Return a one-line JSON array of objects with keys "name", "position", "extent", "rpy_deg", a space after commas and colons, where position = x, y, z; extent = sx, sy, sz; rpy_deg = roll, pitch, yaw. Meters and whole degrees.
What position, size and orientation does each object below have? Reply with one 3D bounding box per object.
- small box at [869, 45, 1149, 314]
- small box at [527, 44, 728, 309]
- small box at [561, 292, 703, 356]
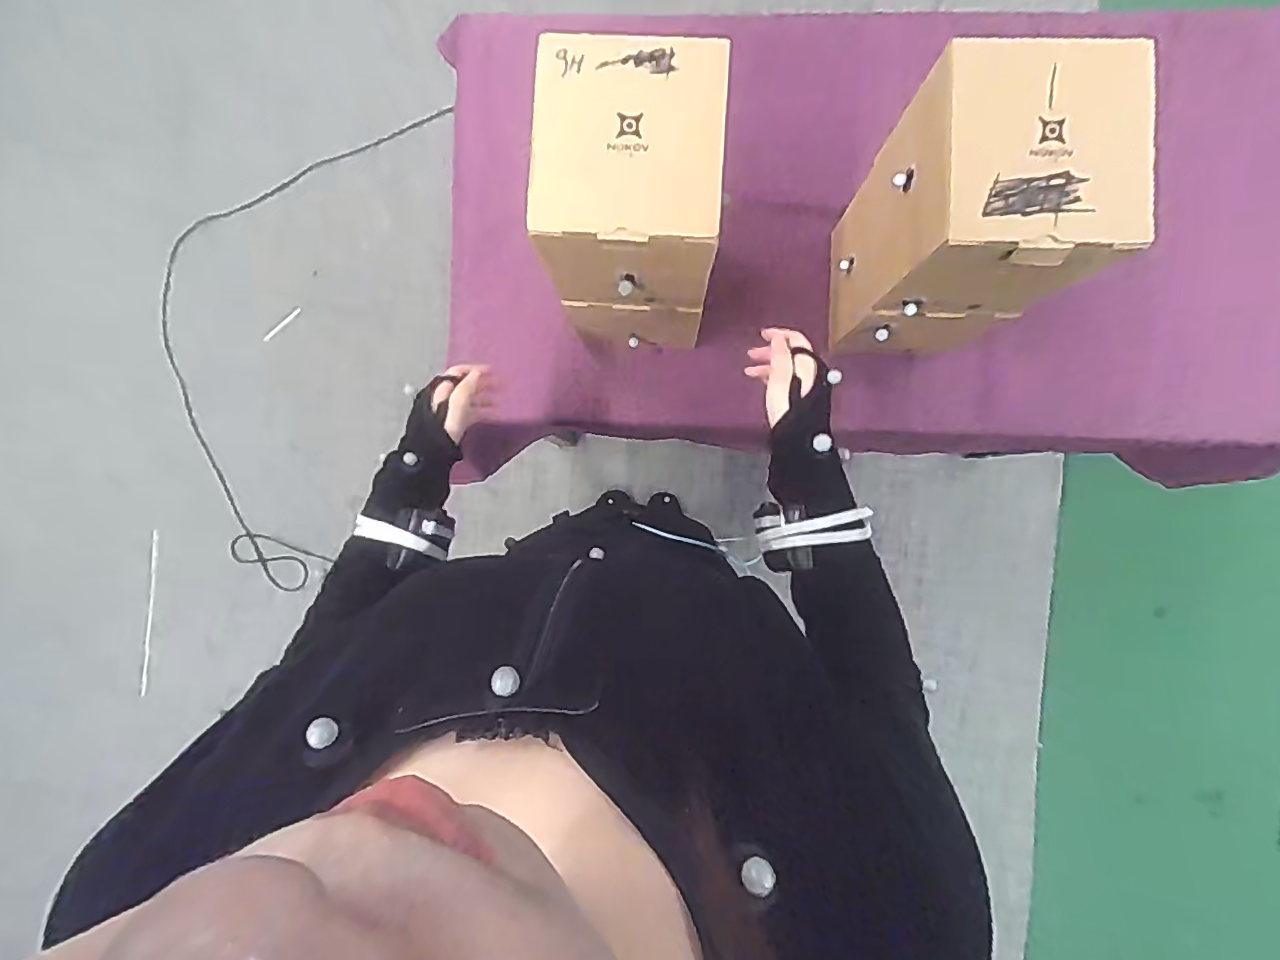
[{"name": "small box", "position": [0.338, -0.273, 0.528], "extent": [0.168, 0.176, 0.179], "rpy_deg": [2, 87, 2]}, {"name": "small box", "position": [-0.008, -0.283, 0.541], "extent": [0.168, 0.176, 0.179], "rpy_deg": [3, 89, 2]}, {"name": "small box", "position": [-0.002, -0.274, 0.705], "extent": [0.168, 0.176, 0.179], "rpy_deg": [3, 88, 3]}]
